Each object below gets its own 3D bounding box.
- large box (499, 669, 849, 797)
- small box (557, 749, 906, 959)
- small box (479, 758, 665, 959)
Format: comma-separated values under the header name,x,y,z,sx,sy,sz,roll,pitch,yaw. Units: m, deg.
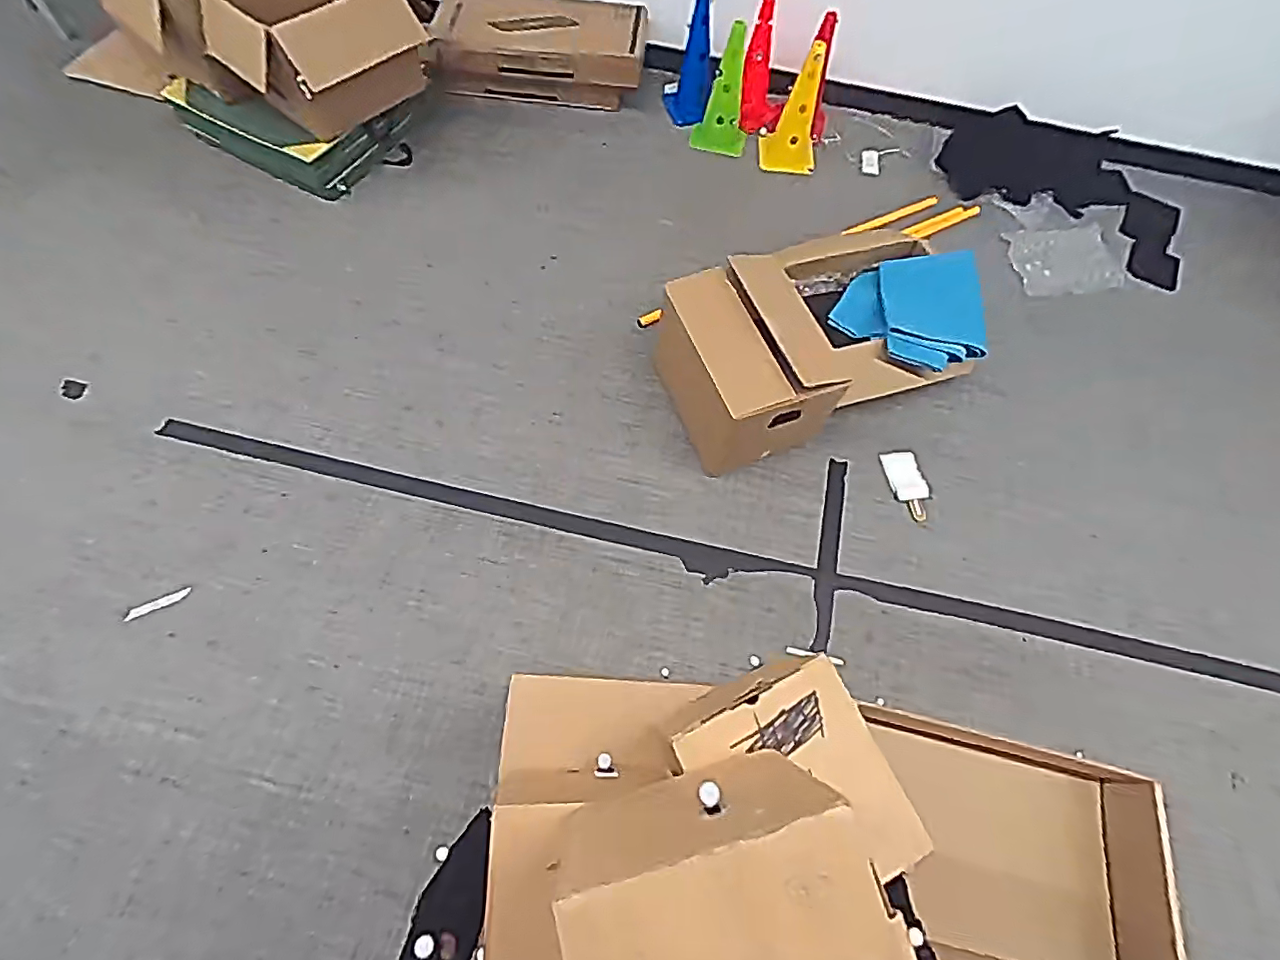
name,x,y,z,sx,sy,sz,roll,pitch,yaw
large box,0.028,0.429,0.737,0.408,0.320,0.320,4,71,-3
small box,0.052,0.295,0.352,0.179,0.176,0.168,-14,74,-7
small box,-0.047,0.368,0.496,0.168,0.176,0.179,1,71,-6
